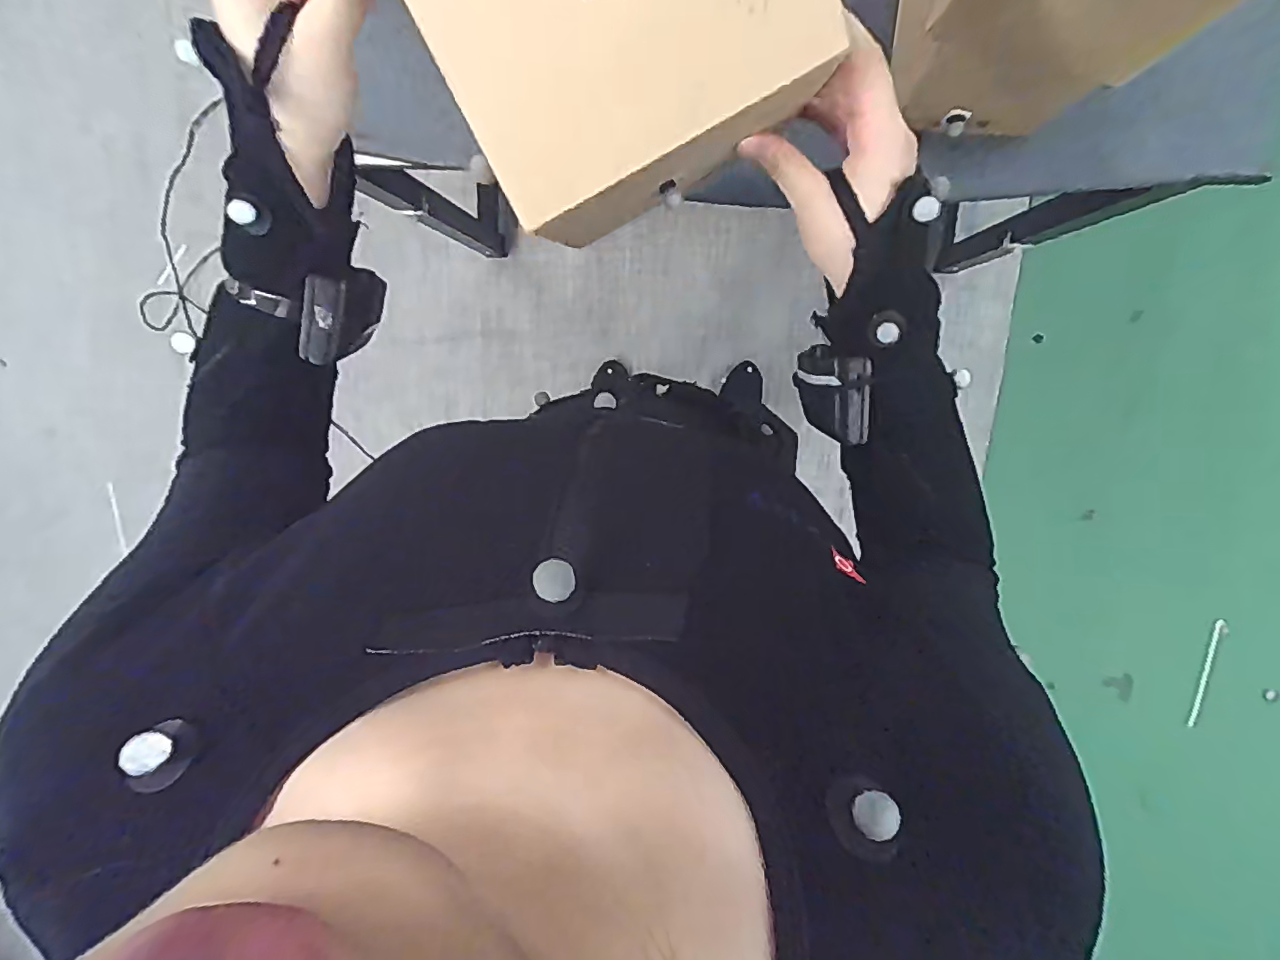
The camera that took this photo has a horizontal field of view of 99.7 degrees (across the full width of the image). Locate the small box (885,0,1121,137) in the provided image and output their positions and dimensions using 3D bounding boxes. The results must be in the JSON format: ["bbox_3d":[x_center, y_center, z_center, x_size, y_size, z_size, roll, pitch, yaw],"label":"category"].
[{"bbox_3d":[0.358,-0.468,0.527,0.168,0.176,0.179,5,102,5],"label":"small box"}]

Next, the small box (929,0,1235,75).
[{"bbox_3d":[0.342,-0.422,0.371,0.179,0.176,0.168,16,102,3],"label":"small box"}]

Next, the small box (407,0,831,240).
[{"bbox_3d":[-0.019,-0.256,0.306,0.168,0.176,0.179,-24,109,10],"label":"small box"}]
